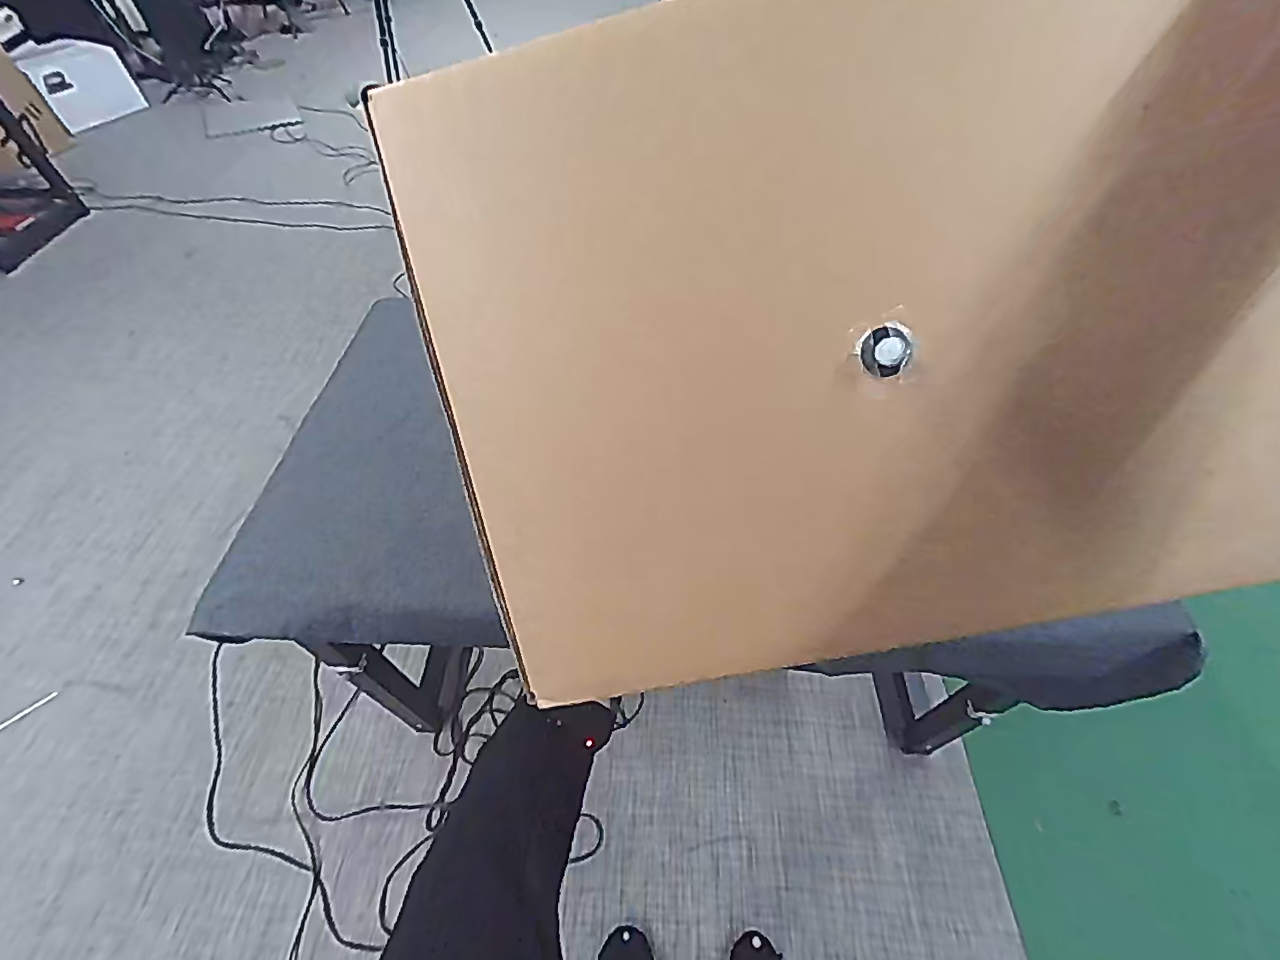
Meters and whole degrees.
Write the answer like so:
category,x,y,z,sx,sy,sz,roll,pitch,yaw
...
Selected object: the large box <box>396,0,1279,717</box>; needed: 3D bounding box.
category,x,y,z,sx,sy,sz,roll,pitch,yaw
large box,0.122,-0.081,0.402,0.408,0.320,0.320,-14,7,5
